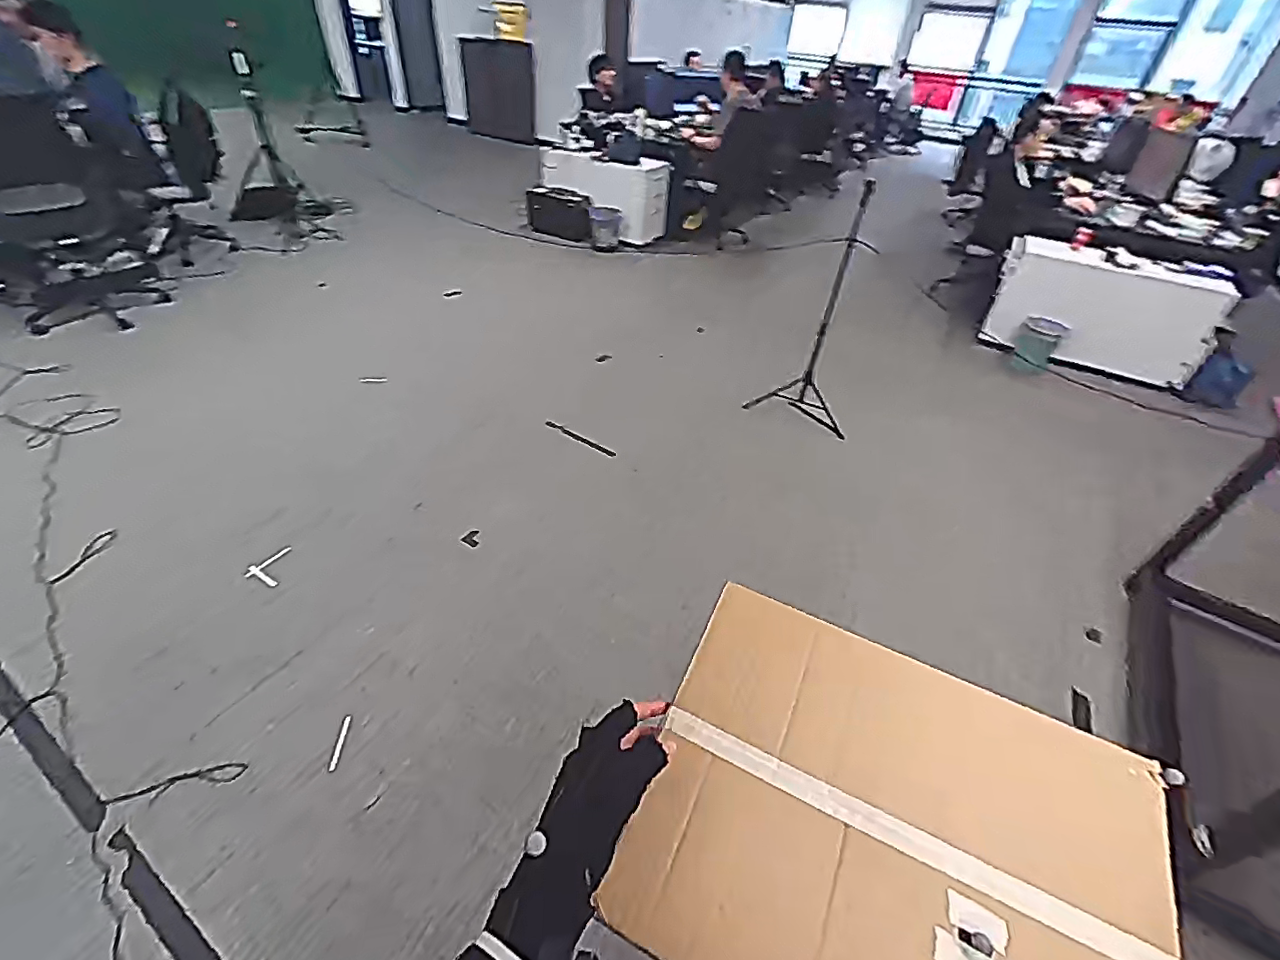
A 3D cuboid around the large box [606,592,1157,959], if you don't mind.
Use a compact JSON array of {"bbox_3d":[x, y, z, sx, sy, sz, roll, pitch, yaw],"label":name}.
[{"bbox_3d":[0.210,0.387,0.578,0.408,0.320,0.320,21,55,16],"label":"large box"}]
